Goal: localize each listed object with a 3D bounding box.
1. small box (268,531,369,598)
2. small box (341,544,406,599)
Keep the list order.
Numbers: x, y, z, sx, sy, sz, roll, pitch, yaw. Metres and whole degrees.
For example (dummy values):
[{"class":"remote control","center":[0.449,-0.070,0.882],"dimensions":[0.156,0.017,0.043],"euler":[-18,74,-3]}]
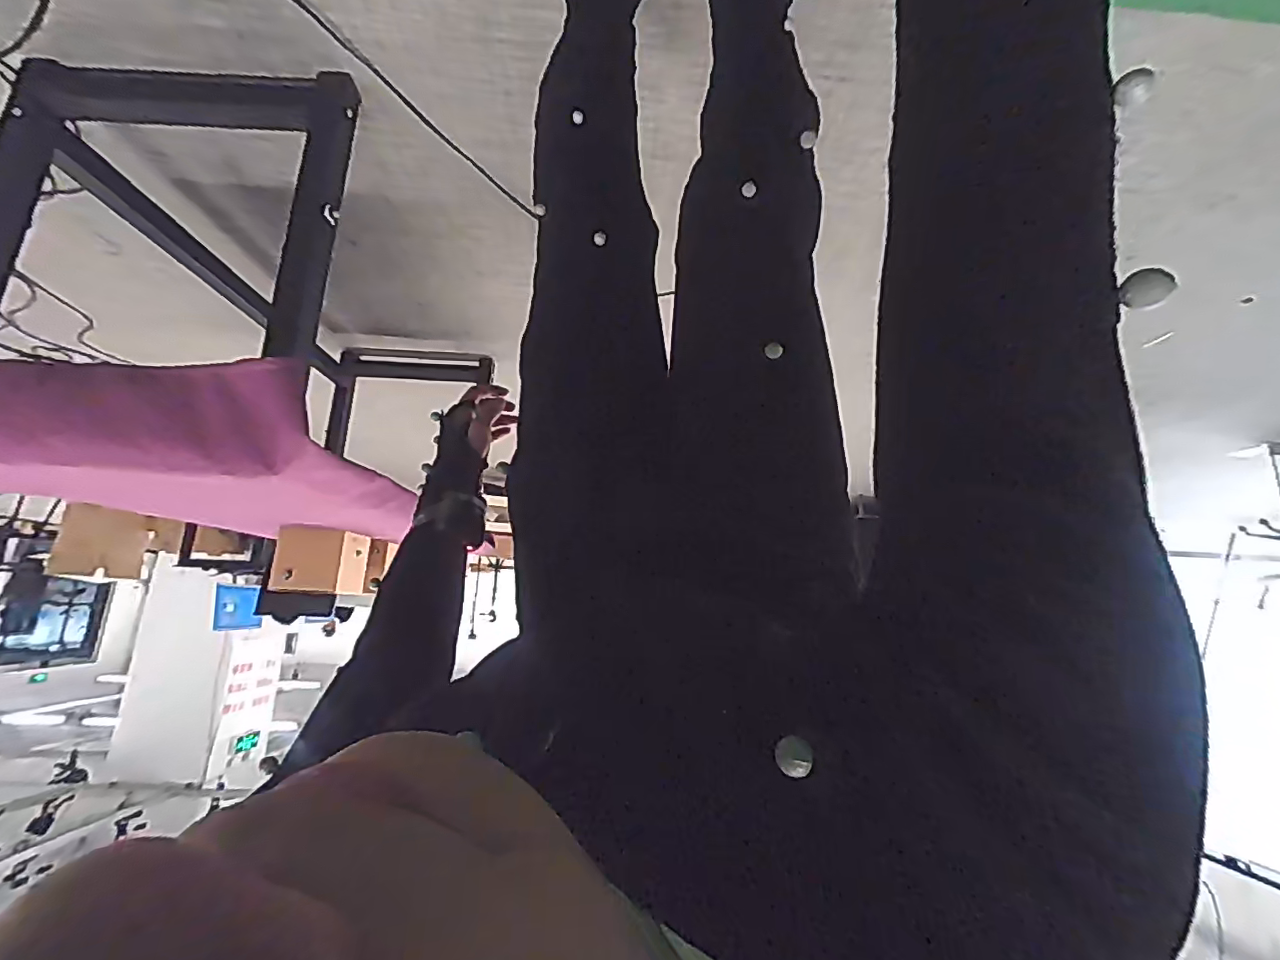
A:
[{"class":"small box","center":[-0.881,0.234,1.497],"dimensions":[0.179,0.176,0.168],"euler":[3,167,-4]},{"class":"small box","center":[-0.875,0.294,1.746],"dimensions":[0.168,0.176,0.179],"euler":[3,167,-3]}]
